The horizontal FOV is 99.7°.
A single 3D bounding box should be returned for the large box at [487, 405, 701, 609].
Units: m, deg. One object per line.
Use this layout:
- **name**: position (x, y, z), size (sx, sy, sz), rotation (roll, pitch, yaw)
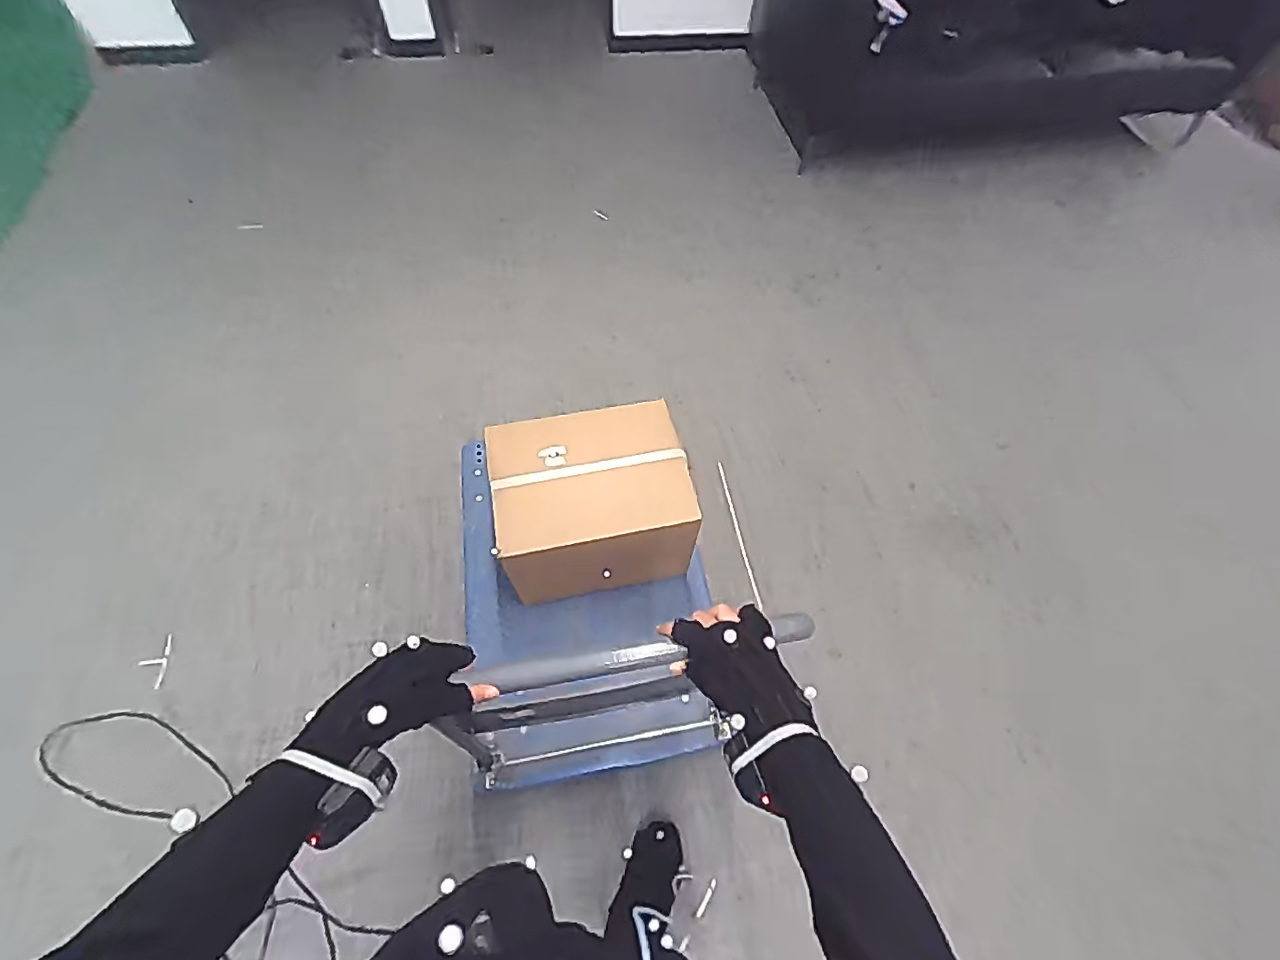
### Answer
- **large box**: position (-0.107, 0.071, 1.255), size (0.408, 0.320, 0.320), rotation (-11, 60, -8)
